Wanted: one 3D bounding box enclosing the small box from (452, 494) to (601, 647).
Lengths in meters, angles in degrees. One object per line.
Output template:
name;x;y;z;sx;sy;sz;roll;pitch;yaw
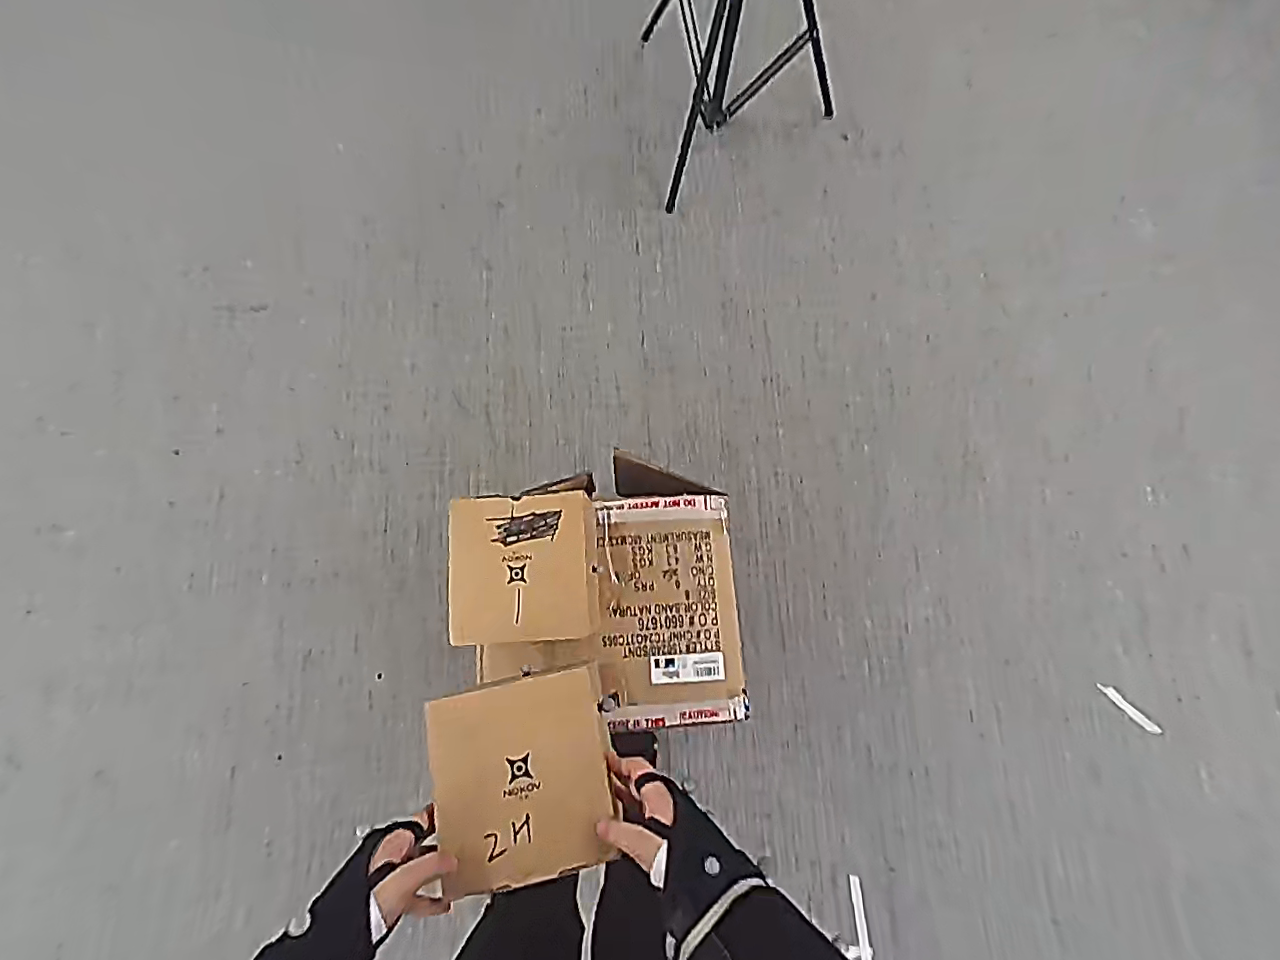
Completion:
small box;-0.142;0.120;0.721;0.168;0.176;0.179;-3;81;0

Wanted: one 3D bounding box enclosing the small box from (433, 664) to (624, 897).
small box;-0.115;0.308;0.599;0.168;0.176;0.179;-11;74;-5
